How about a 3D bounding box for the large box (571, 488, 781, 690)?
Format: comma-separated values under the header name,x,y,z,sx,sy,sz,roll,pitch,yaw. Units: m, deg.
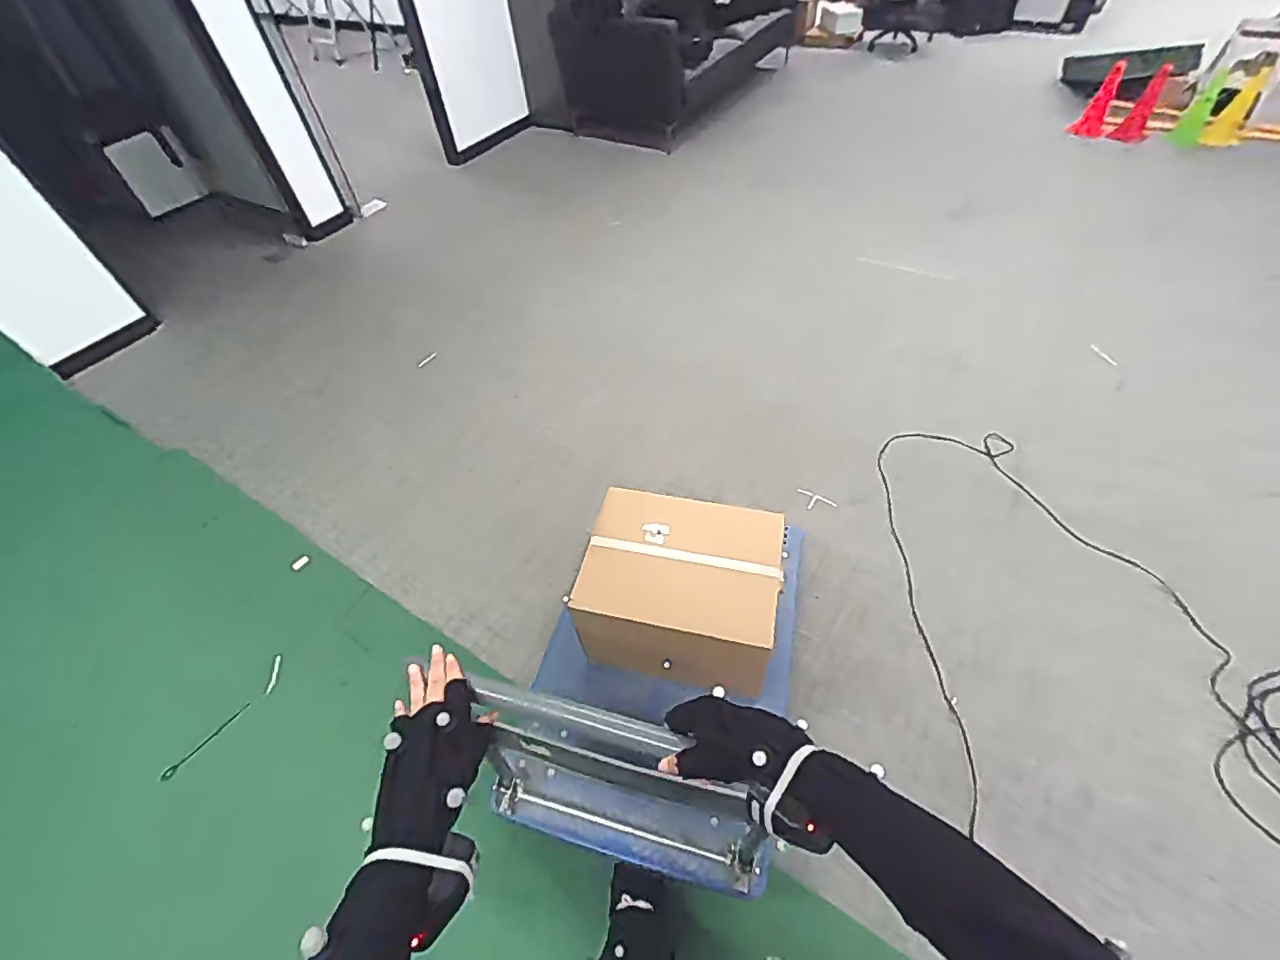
name,x,y,z,sx,sy,sz,roll,pitch,yaw
large box,0.099,0.253,1.250,0.408,0.320,0.320,8,52,12
